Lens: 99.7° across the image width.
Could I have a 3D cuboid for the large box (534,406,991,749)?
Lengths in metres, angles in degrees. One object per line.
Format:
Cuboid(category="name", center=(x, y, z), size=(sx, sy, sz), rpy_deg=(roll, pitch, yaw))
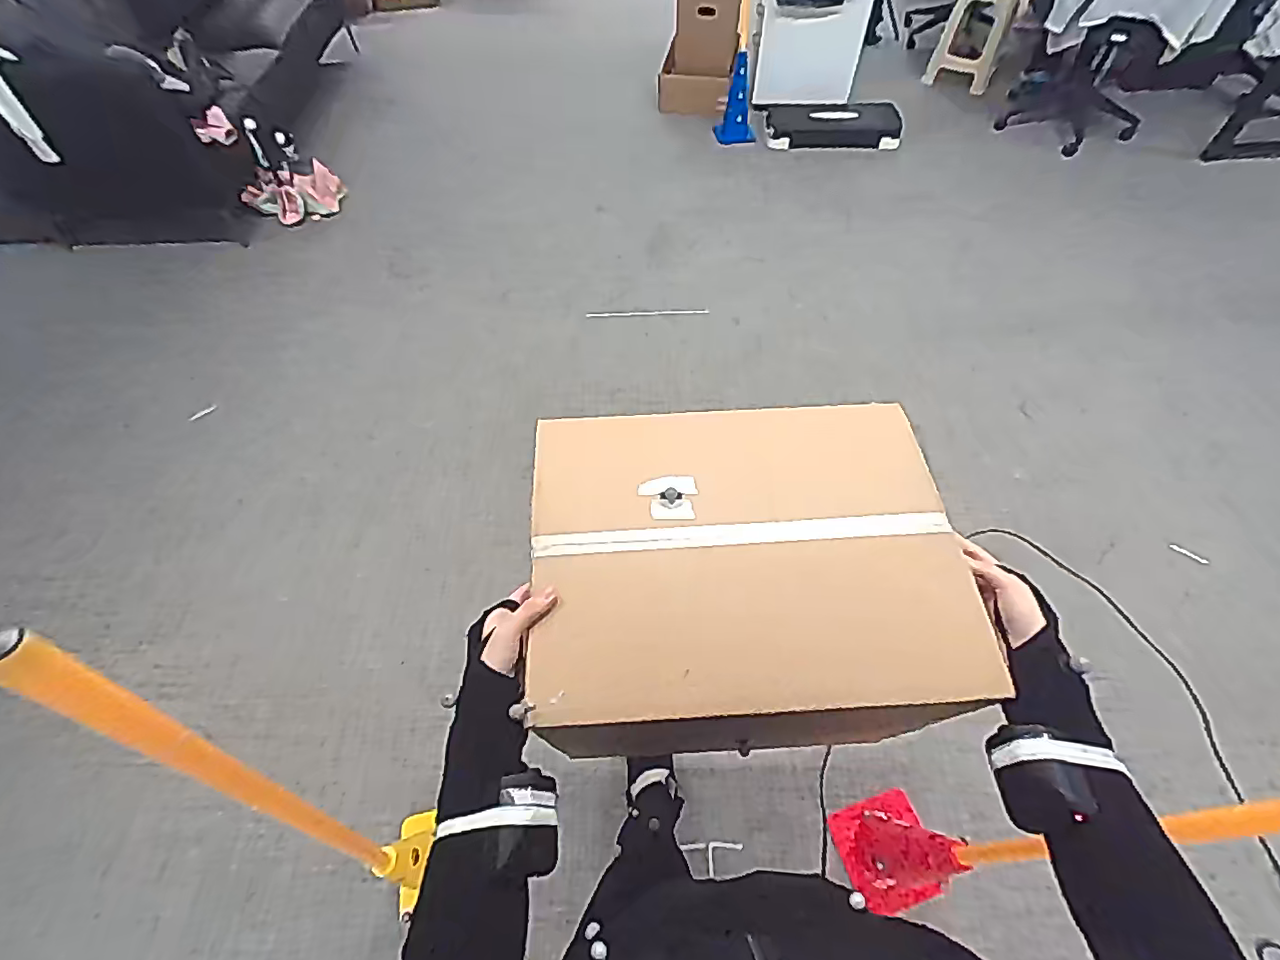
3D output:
Cuboid(category="large box", center=(0.103, 0.136, 0.665), size=(0.408, 0.320, 0.320), rpy_deg=(-4, 58, 0))
